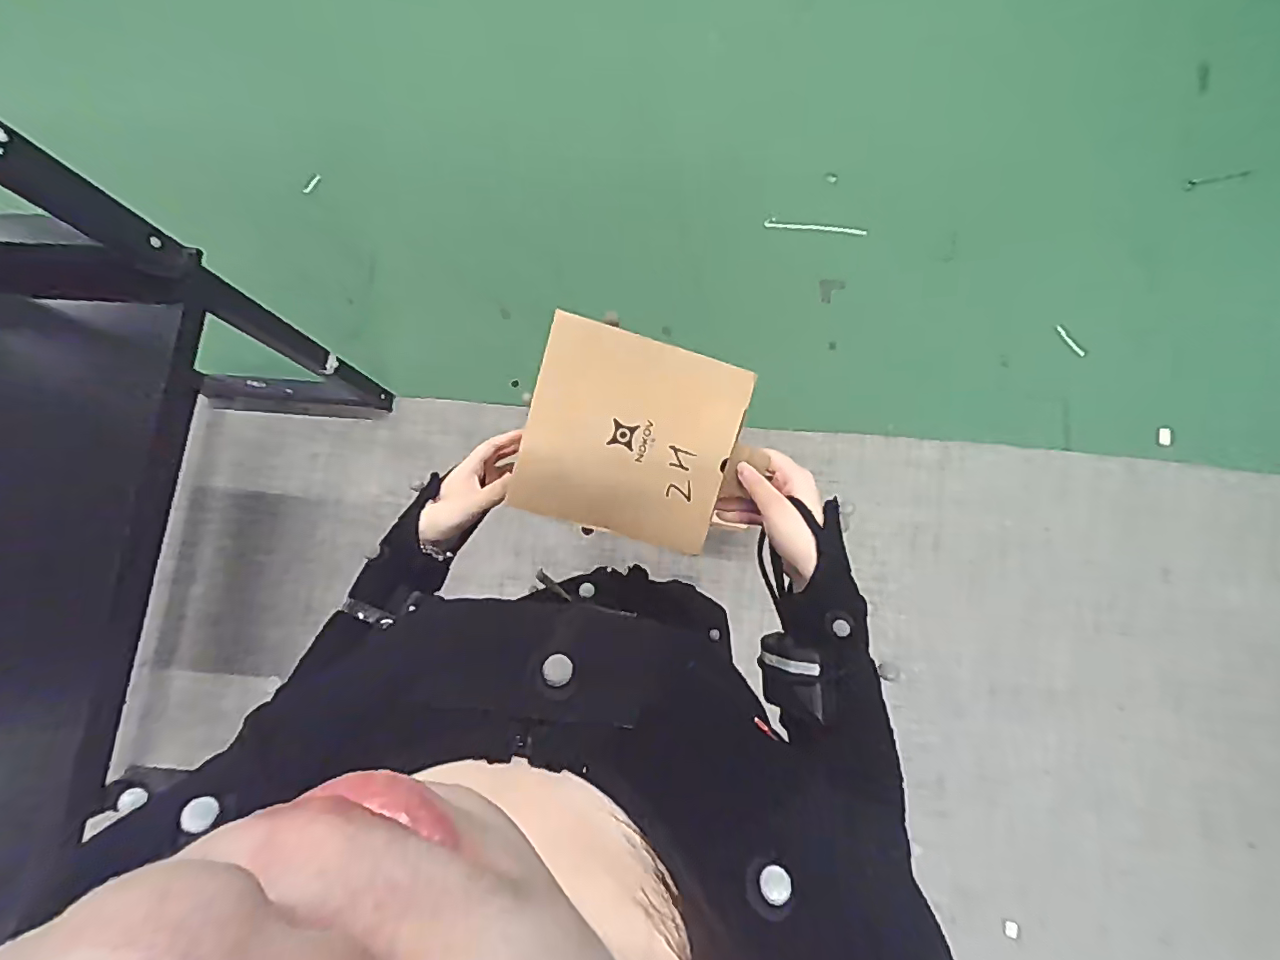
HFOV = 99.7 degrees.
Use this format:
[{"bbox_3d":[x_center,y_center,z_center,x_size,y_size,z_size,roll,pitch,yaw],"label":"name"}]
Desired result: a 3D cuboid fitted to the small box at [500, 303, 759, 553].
[{"bbox_3d":[-0.017,-0.050,0.514,0.179,0.176,0.168,16,98,-9],"label":"small box"}]
